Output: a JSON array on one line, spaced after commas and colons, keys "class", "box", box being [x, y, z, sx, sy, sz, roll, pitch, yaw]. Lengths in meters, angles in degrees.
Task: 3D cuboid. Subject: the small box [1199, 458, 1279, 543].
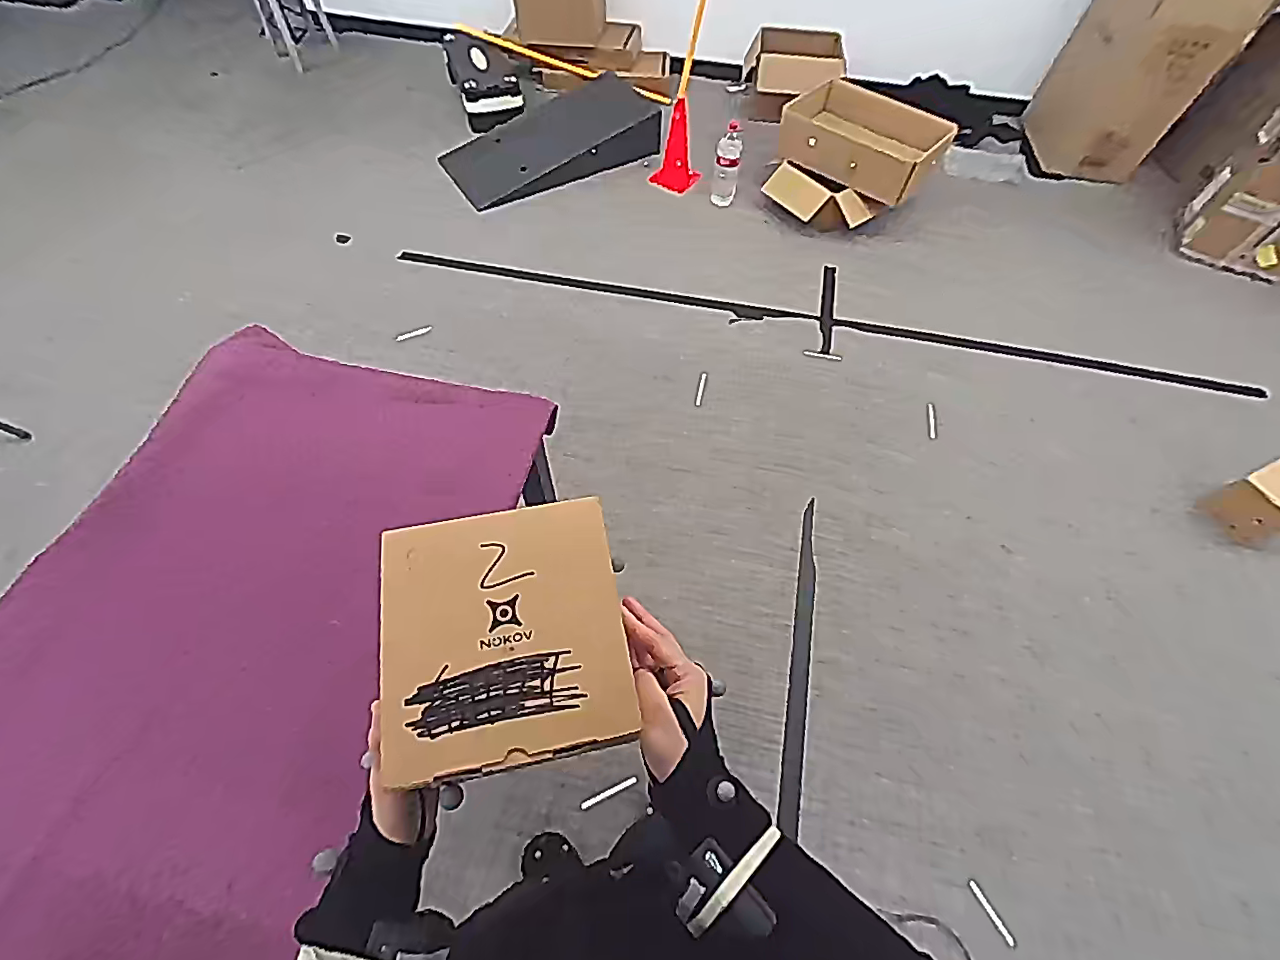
[{"class": "small box", "box": [1.874, 0.067, 1.637, 0.179, 0.176, 0.168, -21, 62, -15]}]
